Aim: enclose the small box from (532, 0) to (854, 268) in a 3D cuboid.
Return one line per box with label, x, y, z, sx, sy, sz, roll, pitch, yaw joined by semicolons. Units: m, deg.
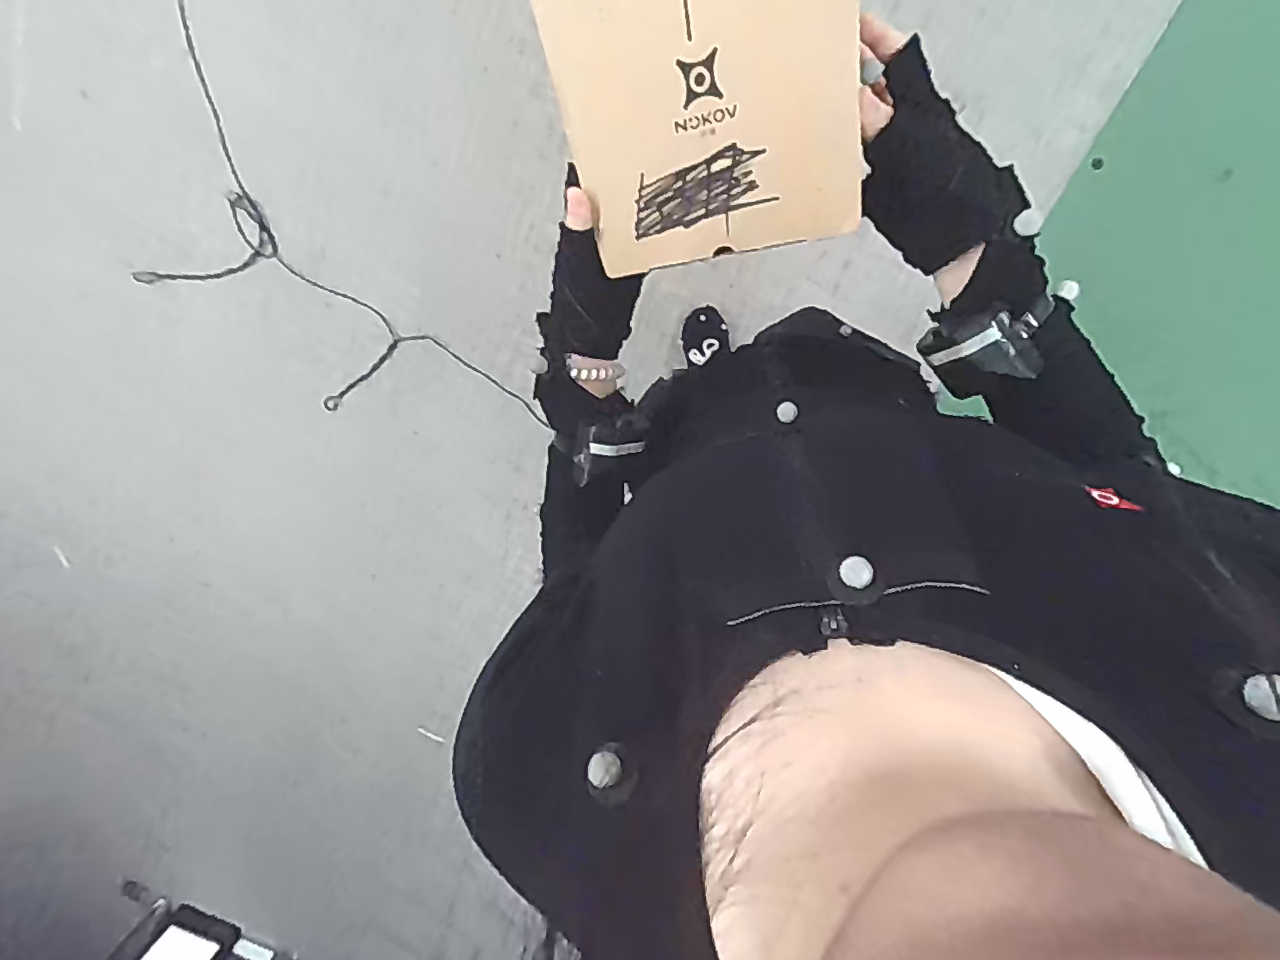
small box;0.052;-0.267;0.359;0.168;0.176;0.179;-3;128;20
